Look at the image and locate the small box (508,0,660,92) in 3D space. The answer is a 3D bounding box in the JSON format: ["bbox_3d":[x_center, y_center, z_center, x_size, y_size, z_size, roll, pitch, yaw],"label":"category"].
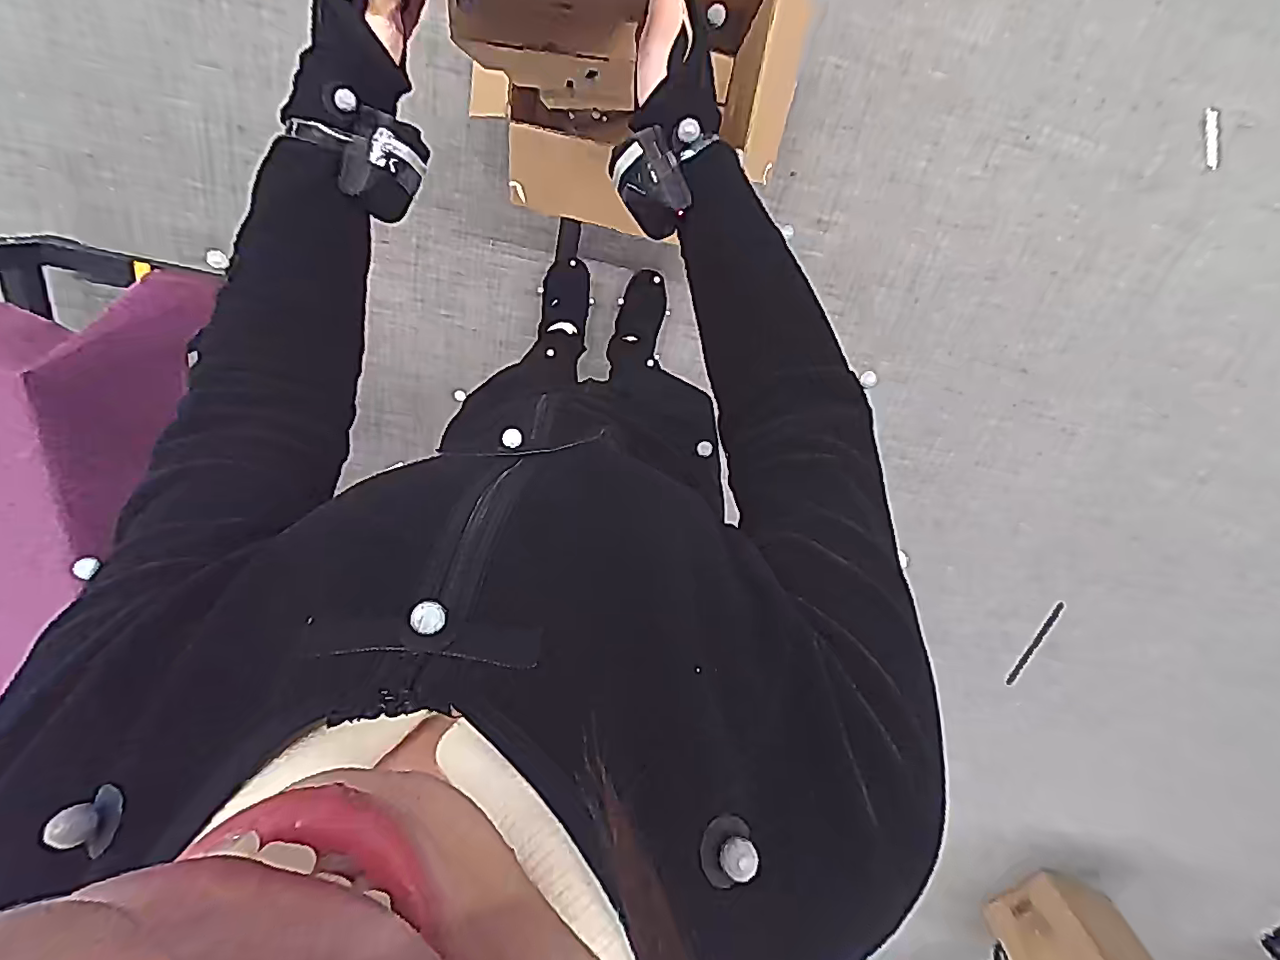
[{"bbox_3d":[-0.069,-0.561,0.623,0.179,0.176,0.168,2,121,-7],"label":"small box"}]

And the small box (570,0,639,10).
[{"bbox_3d":[-0.064,-0.407,0.307,0.168,0.176,0.179,3,118,-8],"label":"small box"}]

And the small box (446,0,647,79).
[{"bbox_3d":[-0.075,-0.479,0.481,0.168,0.176,0.179,3,120,-8],"label":"small box"}]

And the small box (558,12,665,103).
[{"bbox_3d":[-0.062,-0.743,0.898,0.179,0.176,0.168,-10,121,0],"label":"small box"}]
